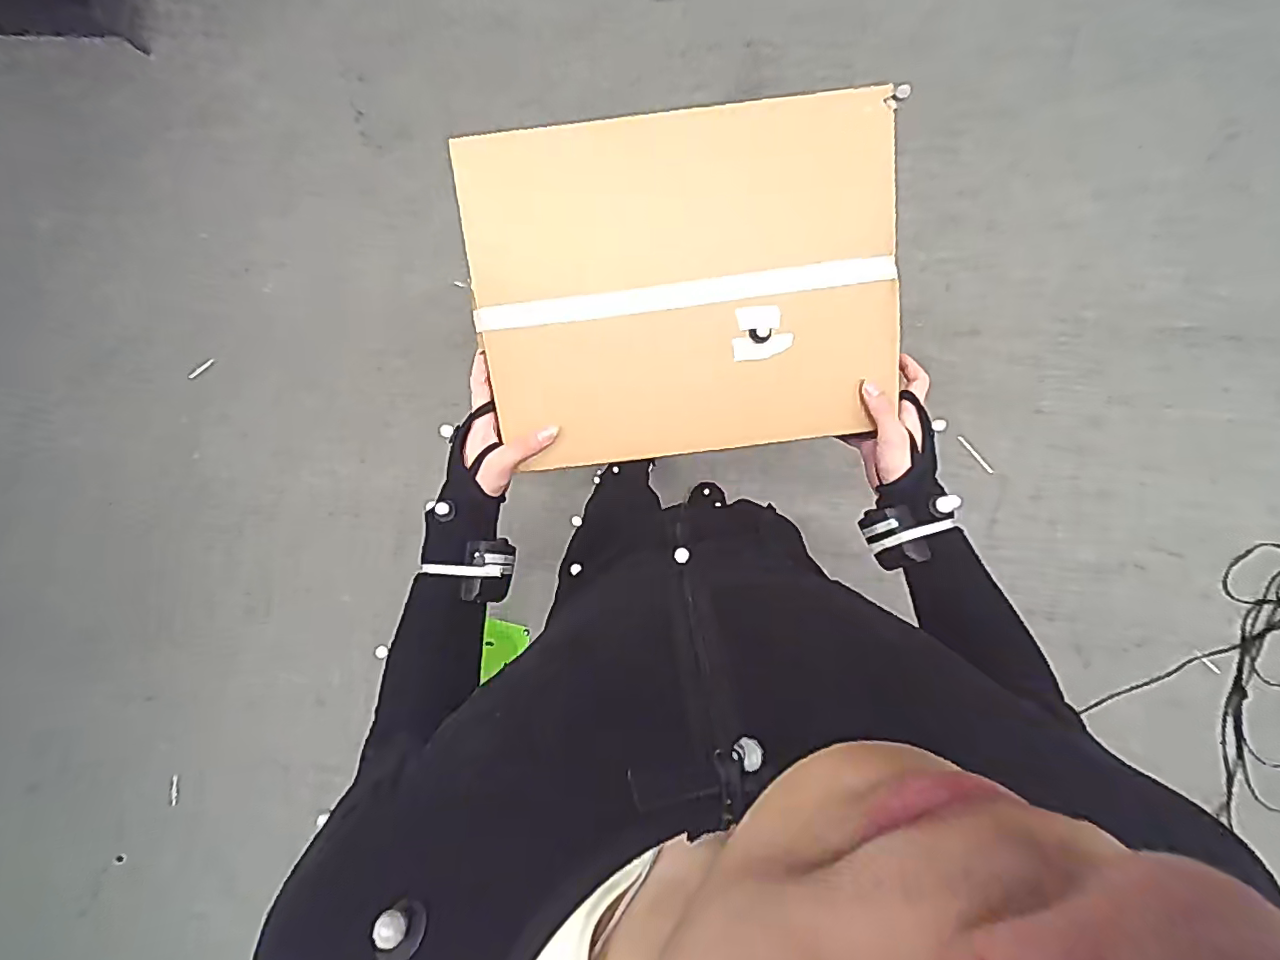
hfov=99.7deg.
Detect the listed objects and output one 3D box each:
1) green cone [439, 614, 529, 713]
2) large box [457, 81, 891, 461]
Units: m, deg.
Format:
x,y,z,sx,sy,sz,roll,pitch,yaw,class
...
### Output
x,y,z,sx,sy,sz,roll,pitch,yaw,class
-0.471,0.544,1.525,0.200,0.368,0.202,11,95,4,green cone
0.040,-0.225,0.674,0.408,0.320,0.320,-7,104,0,large box
